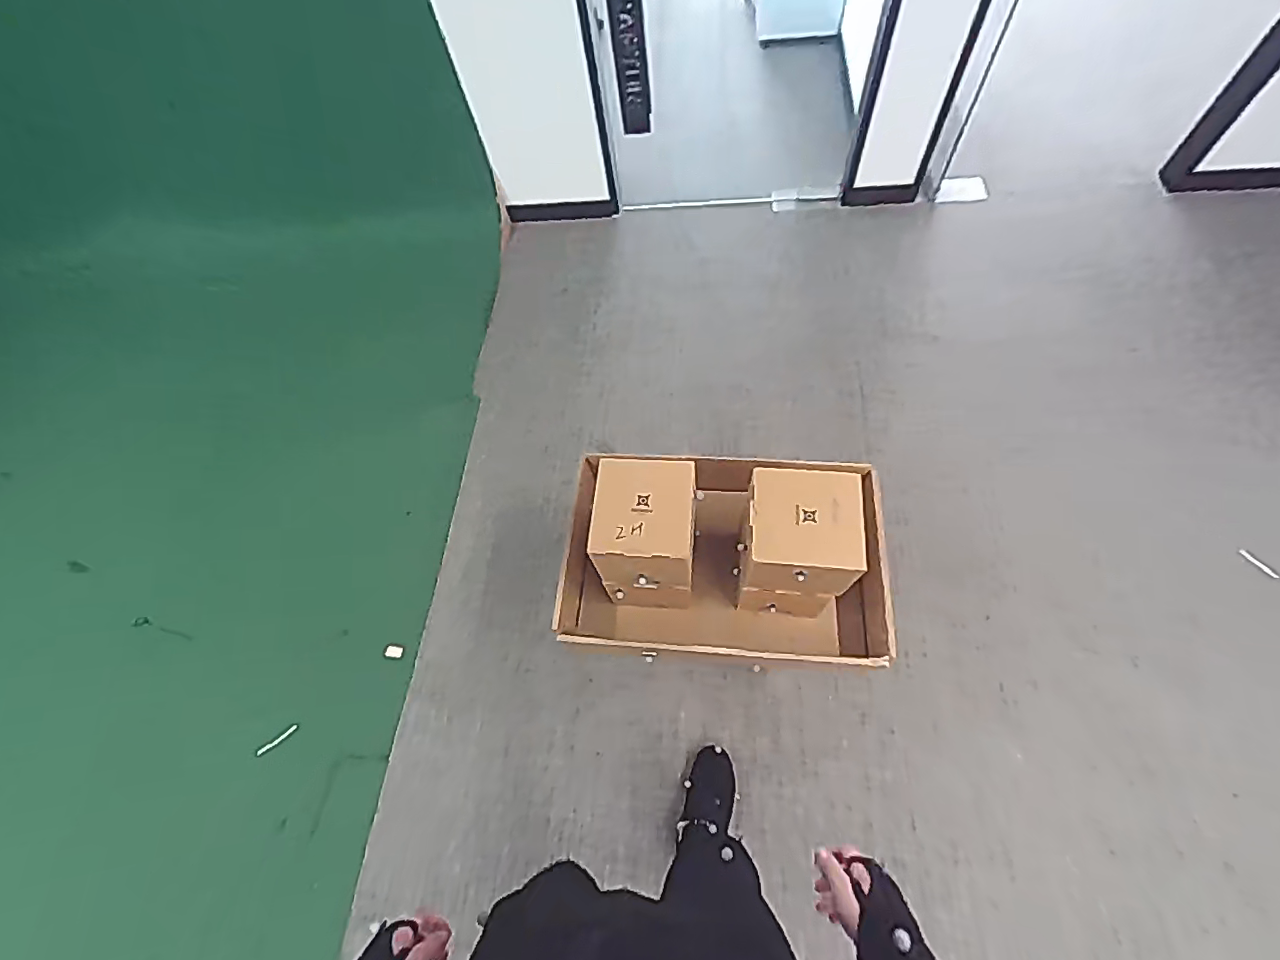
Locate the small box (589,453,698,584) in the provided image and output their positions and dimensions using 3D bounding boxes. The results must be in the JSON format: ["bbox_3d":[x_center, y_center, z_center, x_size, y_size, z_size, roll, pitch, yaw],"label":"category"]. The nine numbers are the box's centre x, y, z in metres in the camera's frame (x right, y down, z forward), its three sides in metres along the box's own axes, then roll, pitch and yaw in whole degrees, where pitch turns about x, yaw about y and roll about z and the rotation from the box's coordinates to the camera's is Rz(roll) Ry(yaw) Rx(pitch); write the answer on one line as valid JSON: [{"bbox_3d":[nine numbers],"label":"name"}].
[{"bbox_3d":[0.014,0.071,0.956,0.168,0.176,0.179,3,64,8],"label":"small box"}]

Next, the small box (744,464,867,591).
[{"bbox_3d":[0.274,0.086,0.925,0.179,0.176,0.168,5,66,7],"label":"small box"}]
